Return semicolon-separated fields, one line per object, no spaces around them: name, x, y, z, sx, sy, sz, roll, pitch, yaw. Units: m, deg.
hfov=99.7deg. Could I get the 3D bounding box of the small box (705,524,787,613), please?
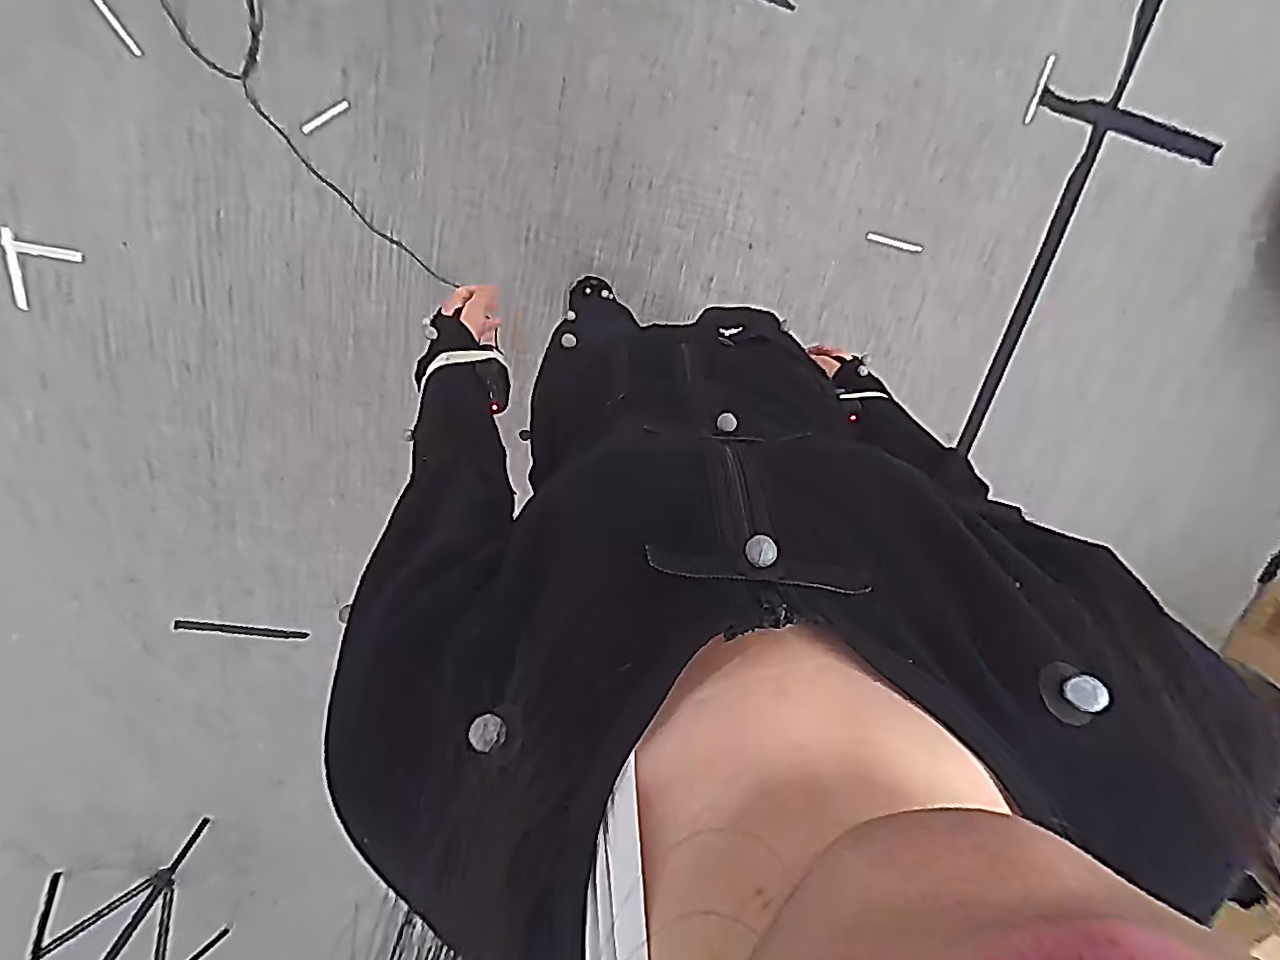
small box;0.305;0.249;1.589;0.168;0.176;0.179;-25;113;5
